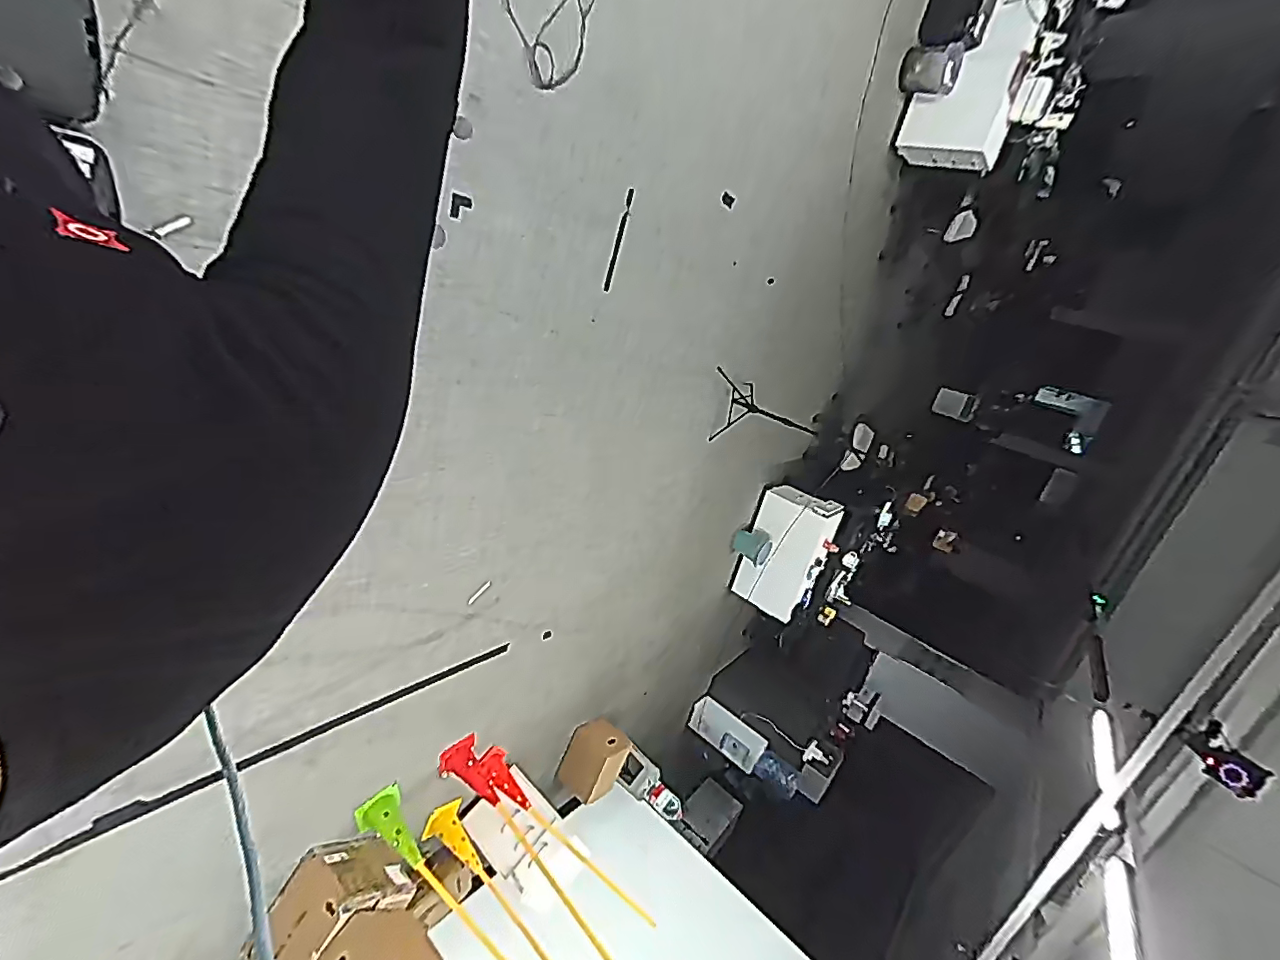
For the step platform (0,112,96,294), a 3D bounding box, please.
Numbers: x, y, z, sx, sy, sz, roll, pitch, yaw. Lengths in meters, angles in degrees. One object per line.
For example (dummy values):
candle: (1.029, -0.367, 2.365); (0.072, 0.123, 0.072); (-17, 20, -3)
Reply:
step platform: (-1.265, -0.463, 0.777); (0.684, 0.204, 0.286); (-11, 122, -50)
